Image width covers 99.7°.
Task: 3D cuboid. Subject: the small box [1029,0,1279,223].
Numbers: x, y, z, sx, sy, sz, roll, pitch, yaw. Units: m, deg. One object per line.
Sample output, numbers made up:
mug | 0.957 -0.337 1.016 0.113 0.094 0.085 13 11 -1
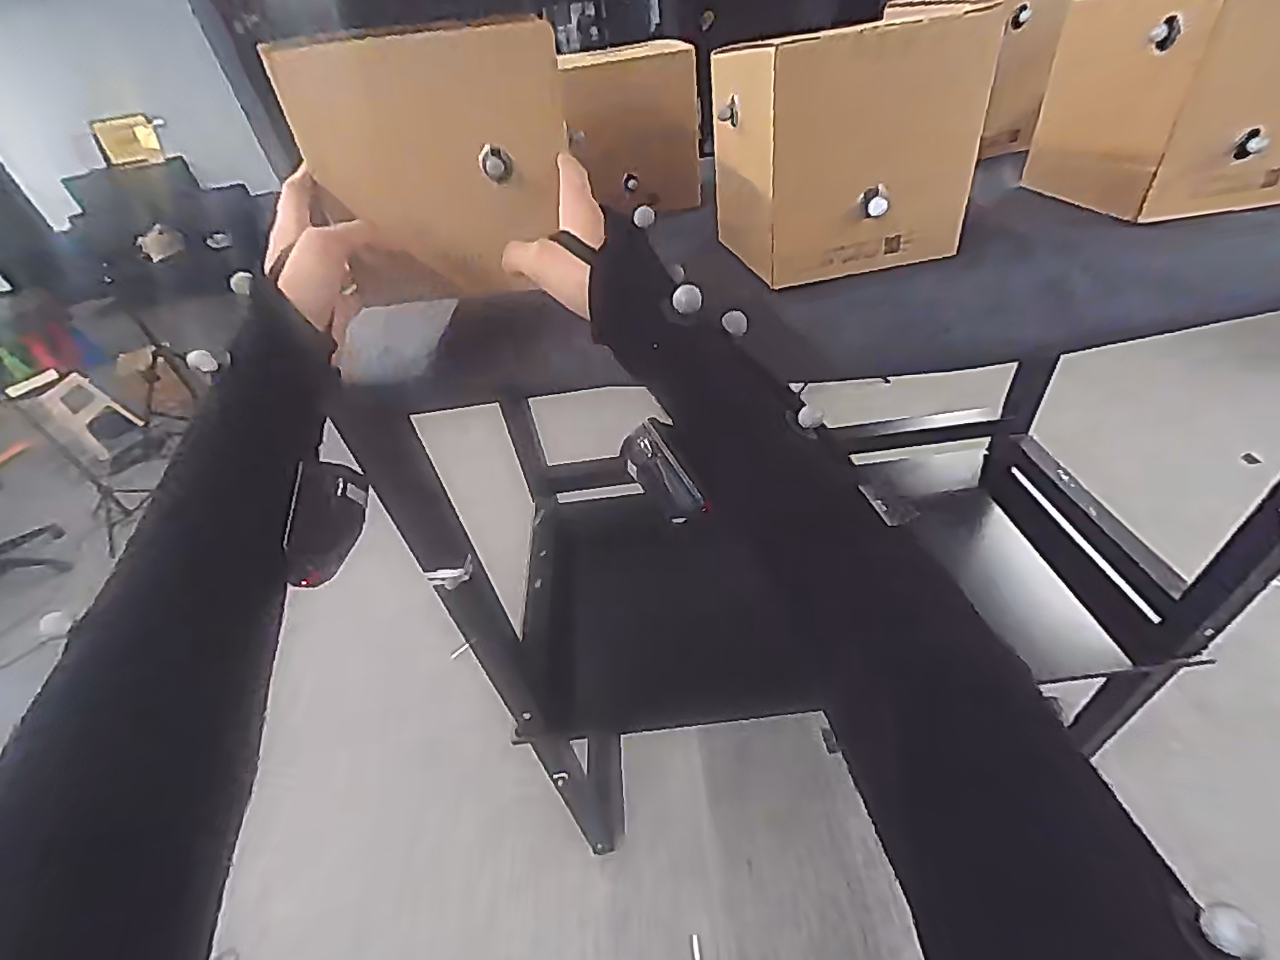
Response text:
small box | 0.504 -0.348 0.490 0.168 0.176 0.179 -8 39 2

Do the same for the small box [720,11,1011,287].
small box | 0.172 -0.288 0.480 0.168 0.176 0.179 -12 38 -2

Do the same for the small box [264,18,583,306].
small box | -0.141 -0.256 0.438 0.179 0.176 0.168 -6 39 -1

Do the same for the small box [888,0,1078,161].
small box | 0.436 -0.532 0.717 0.168 0.176 0.179 -14 41 -5
